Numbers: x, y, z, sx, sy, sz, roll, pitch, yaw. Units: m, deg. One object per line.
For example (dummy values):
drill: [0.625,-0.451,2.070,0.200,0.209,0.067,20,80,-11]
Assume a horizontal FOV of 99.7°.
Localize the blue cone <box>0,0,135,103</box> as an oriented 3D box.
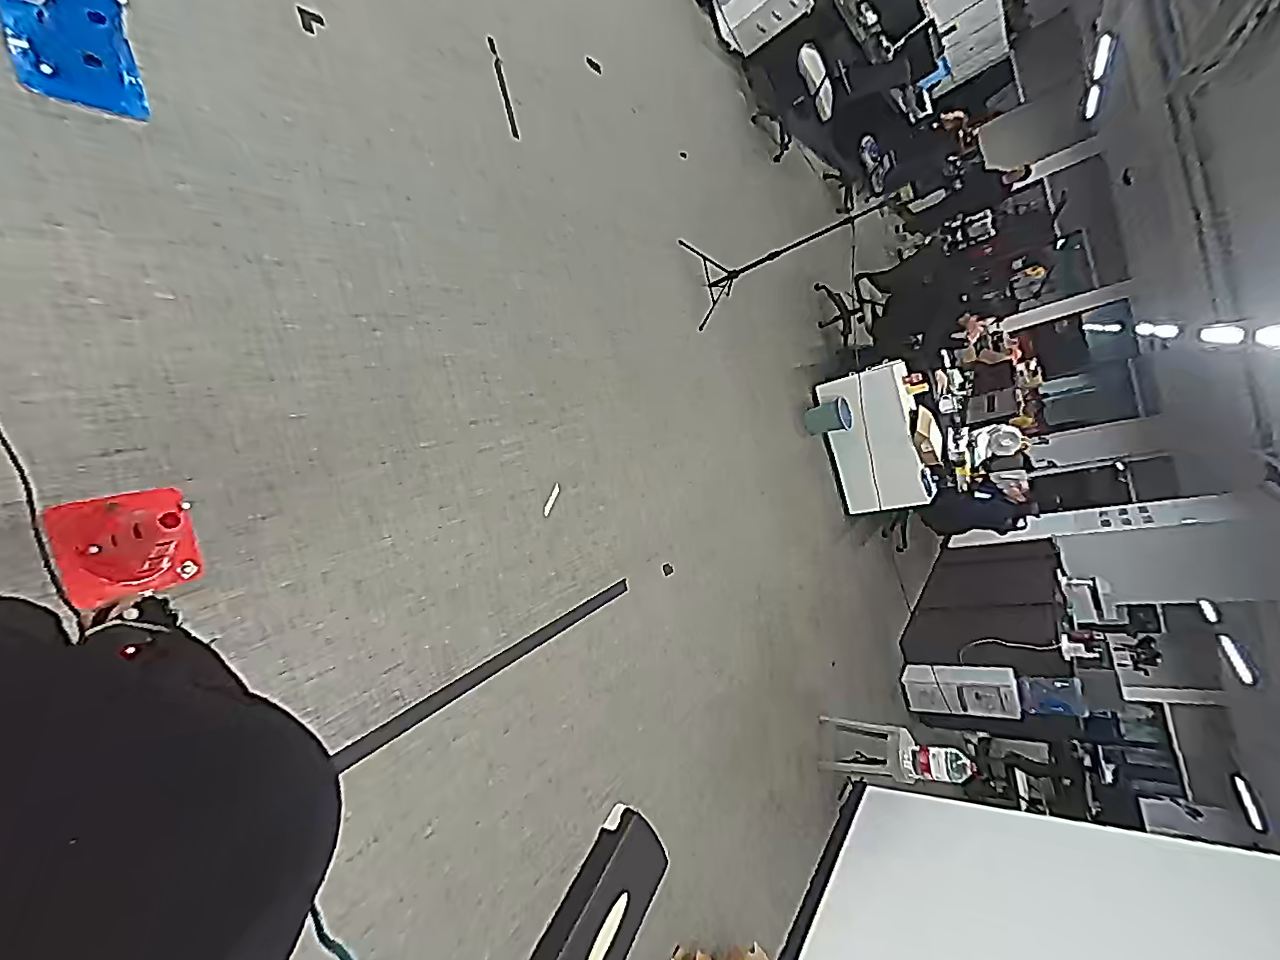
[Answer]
blue cone: [-1.058,-0.923,1.015,0.193,0.380,0.192,-15,91,-52]
